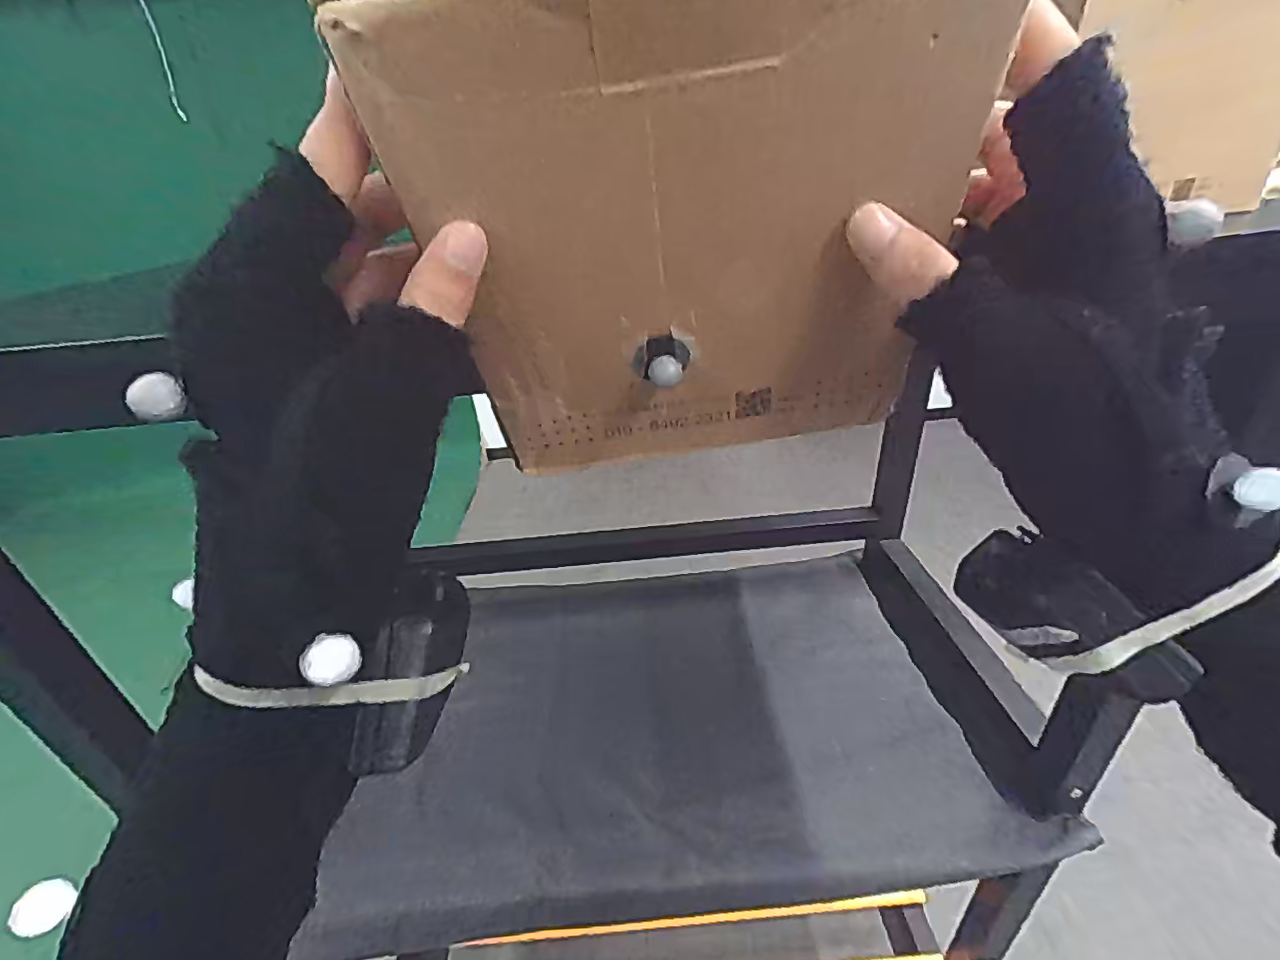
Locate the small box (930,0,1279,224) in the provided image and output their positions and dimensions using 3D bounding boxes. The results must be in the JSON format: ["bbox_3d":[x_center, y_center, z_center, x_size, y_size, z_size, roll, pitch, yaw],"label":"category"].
[{"bbox_3d":[0.368,-0.311,0.444,0.168,0.176,0.179,-4,28,3],"label":"small box"}]

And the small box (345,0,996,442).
[{"bbox_3d":[0.008,-0.142,0.236,0.168,0.176,0.179,-9,52,2],"label":"small box"}]
